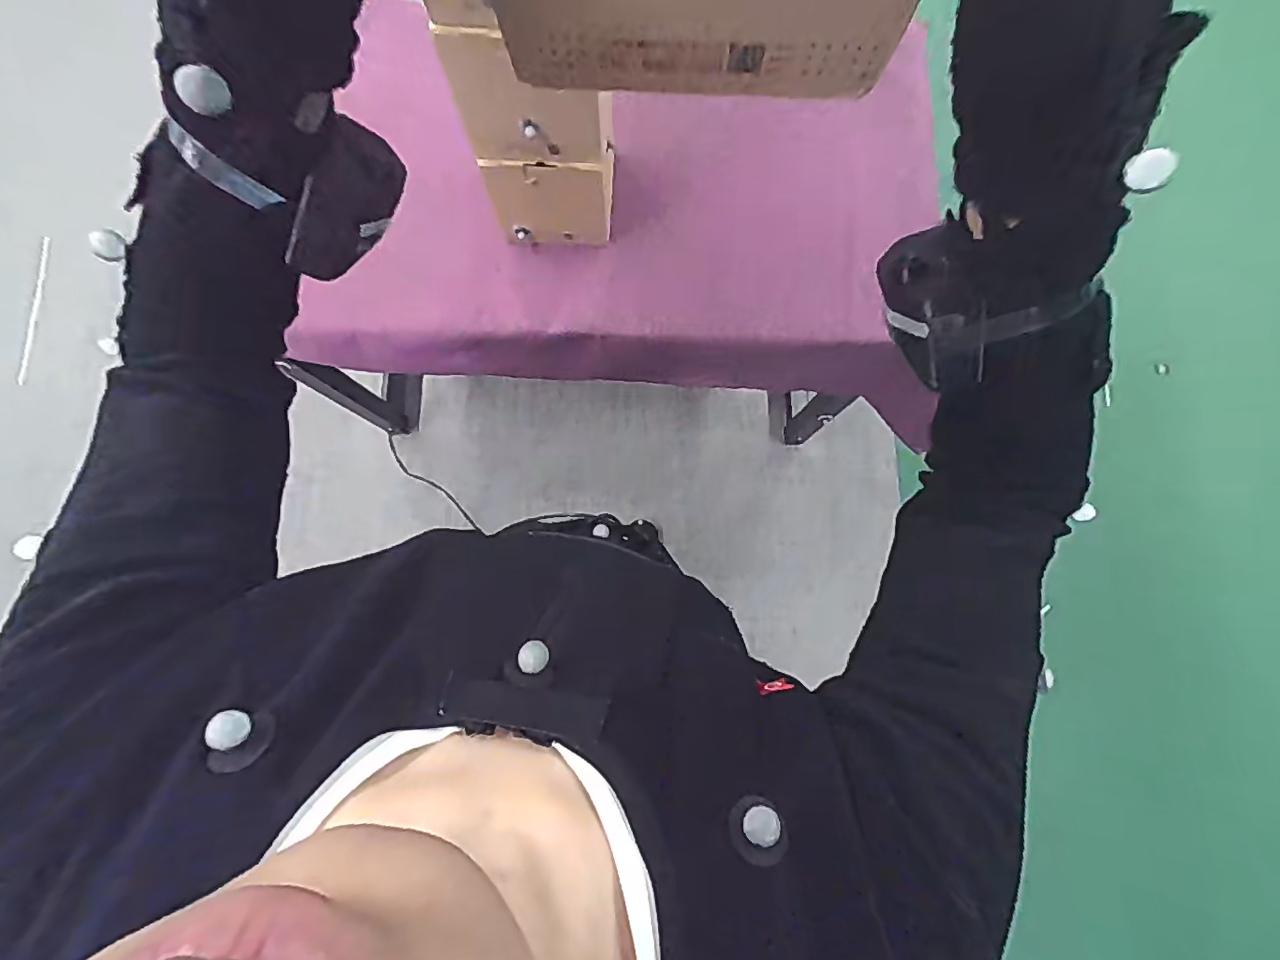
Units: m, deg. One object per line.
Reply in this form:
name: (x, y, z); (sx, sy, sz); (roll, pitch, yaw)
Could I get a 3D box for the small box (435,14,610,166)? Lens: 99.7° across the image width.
small box: (-0.123, -0.512, 0.639); (0.168, 0.176, 0.179); (2, 79, 0)

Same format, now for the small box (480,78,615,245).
small box: (-0.124, -0.473, 0.799); (0.168, 0.176, 0.179); (3, 78, 0)

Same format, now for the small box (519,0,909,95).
small box: (0.029, -0.277, 0.179); (0.168, 0.176, 0.179); (4, 84, 3)
